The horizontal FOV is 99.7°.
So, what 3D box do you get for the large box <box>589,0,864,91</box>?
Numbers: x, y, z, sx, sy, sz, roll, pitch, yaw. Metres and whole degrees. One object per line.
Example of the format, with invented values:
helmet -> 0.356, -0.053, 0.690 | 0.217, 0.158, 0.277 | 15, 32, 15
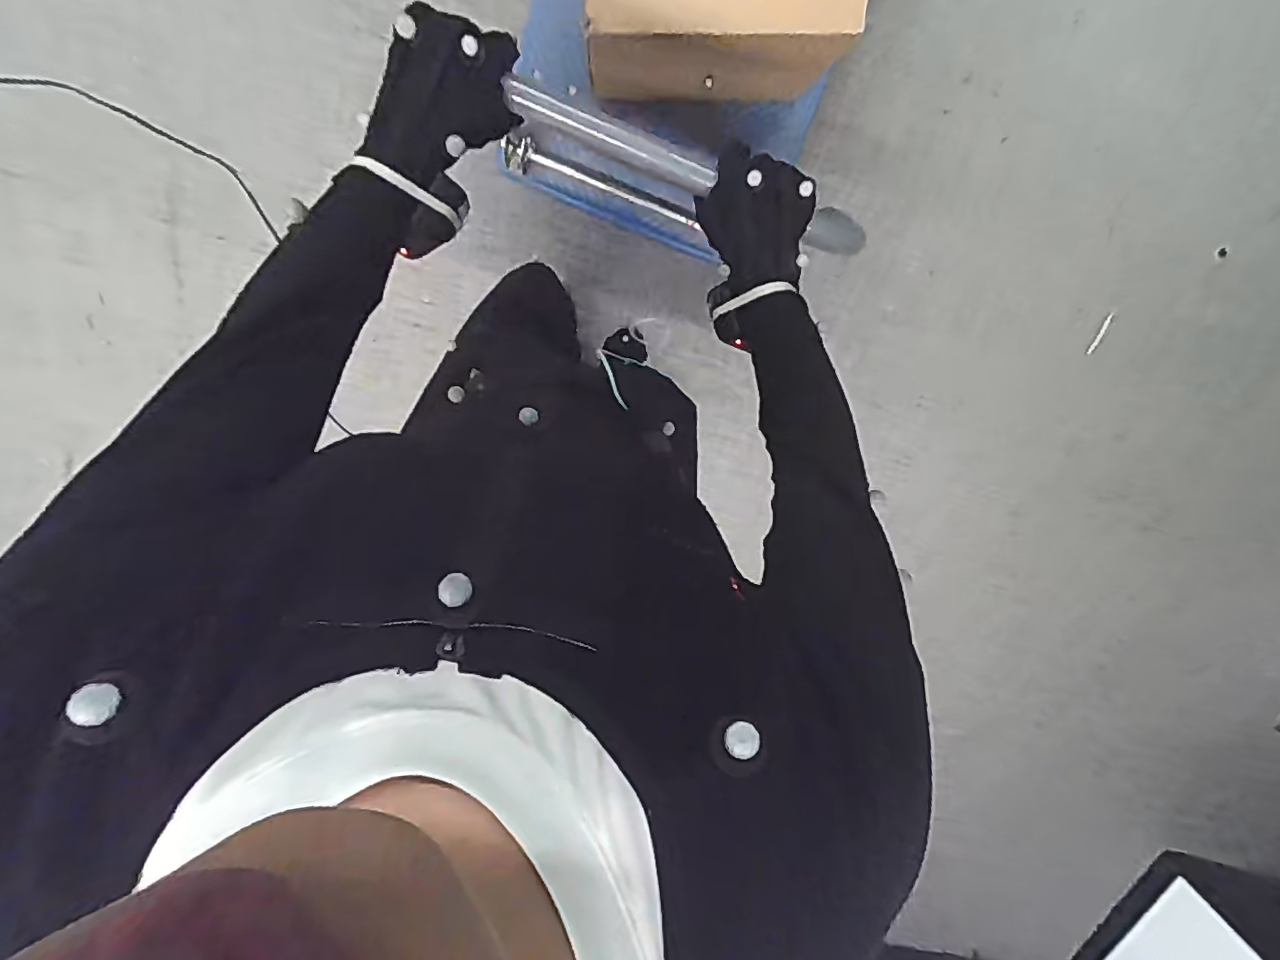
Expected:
large box -> 0.120, -0.856, 0.871 | 0.408, 0.320, 0.320 | -2, 110, -1
